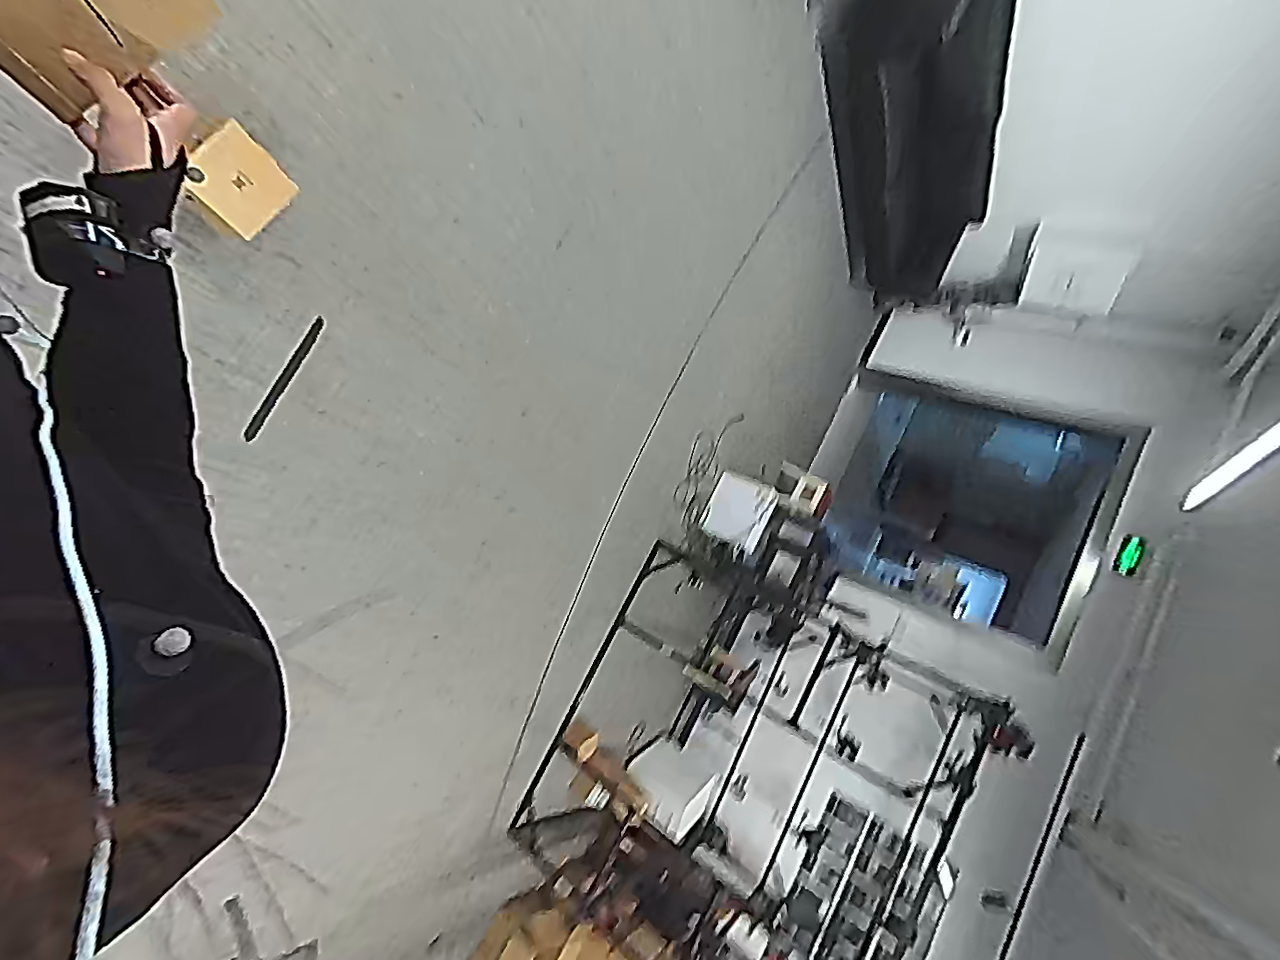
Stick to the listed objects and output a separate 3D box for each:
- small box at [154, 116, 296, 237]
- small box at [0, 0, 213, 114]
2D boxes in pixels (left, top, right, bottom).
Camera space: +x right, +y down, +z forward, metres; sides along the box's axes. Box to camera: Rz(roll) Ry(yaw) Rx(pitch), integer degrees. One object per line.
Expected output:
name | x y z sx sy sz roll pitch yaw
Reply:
small box | -0.926 -0.671 1.202 0.179 0.176 0.168 -59 147 -16
small box | -0.493 -0.435 0.397 0.168 0.176 0.179 -48 172 -10
